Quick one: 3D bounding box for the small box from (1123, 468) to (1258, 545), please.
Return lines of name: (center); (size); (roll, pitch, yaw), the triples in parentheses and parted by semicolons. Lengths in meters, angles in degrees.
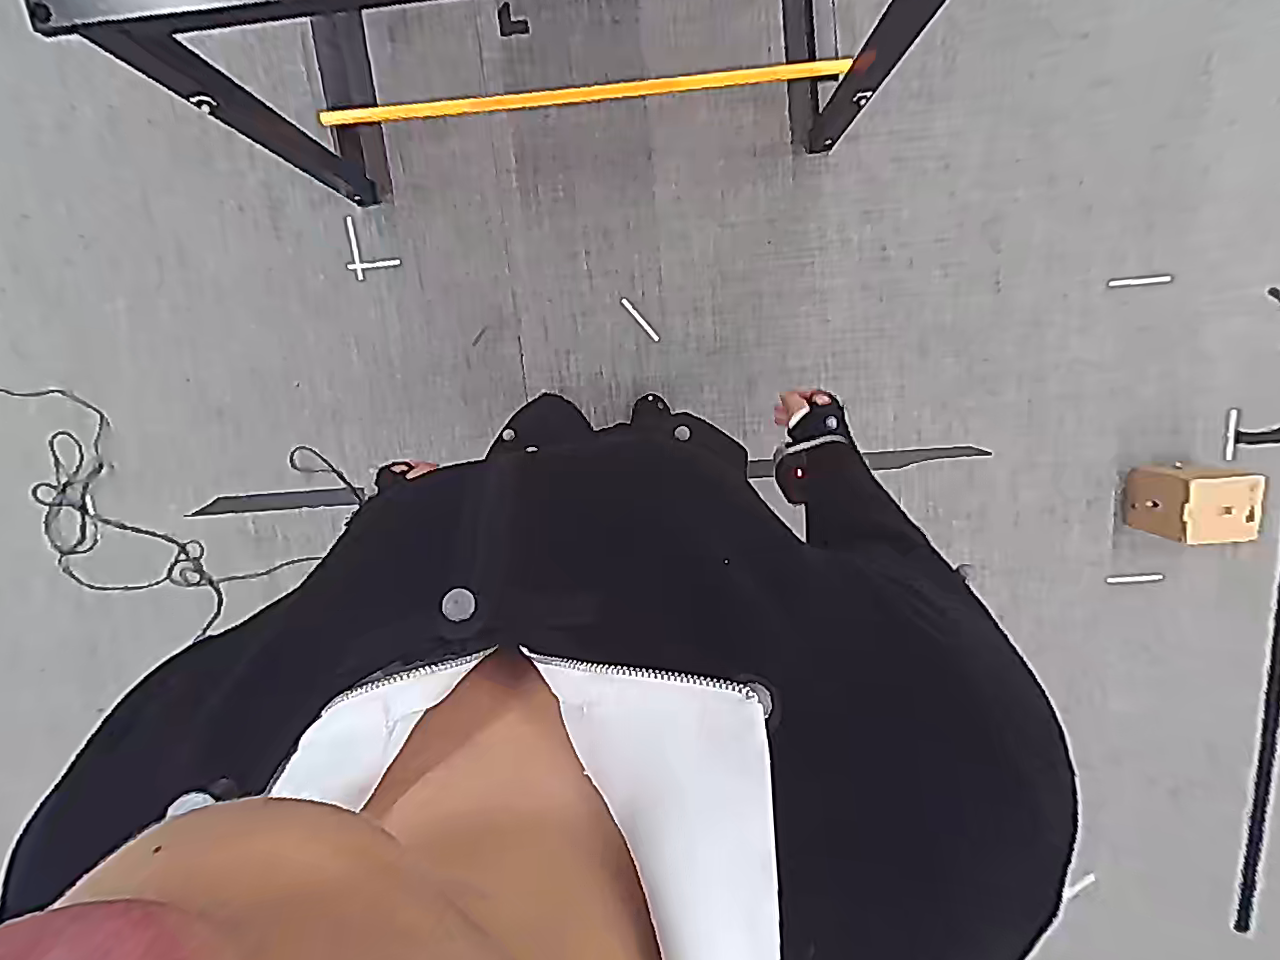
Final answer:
small box: (1.406, 0.065, 1.395); (0.179, 0.176, 0.168); (-3, 100, 2)
